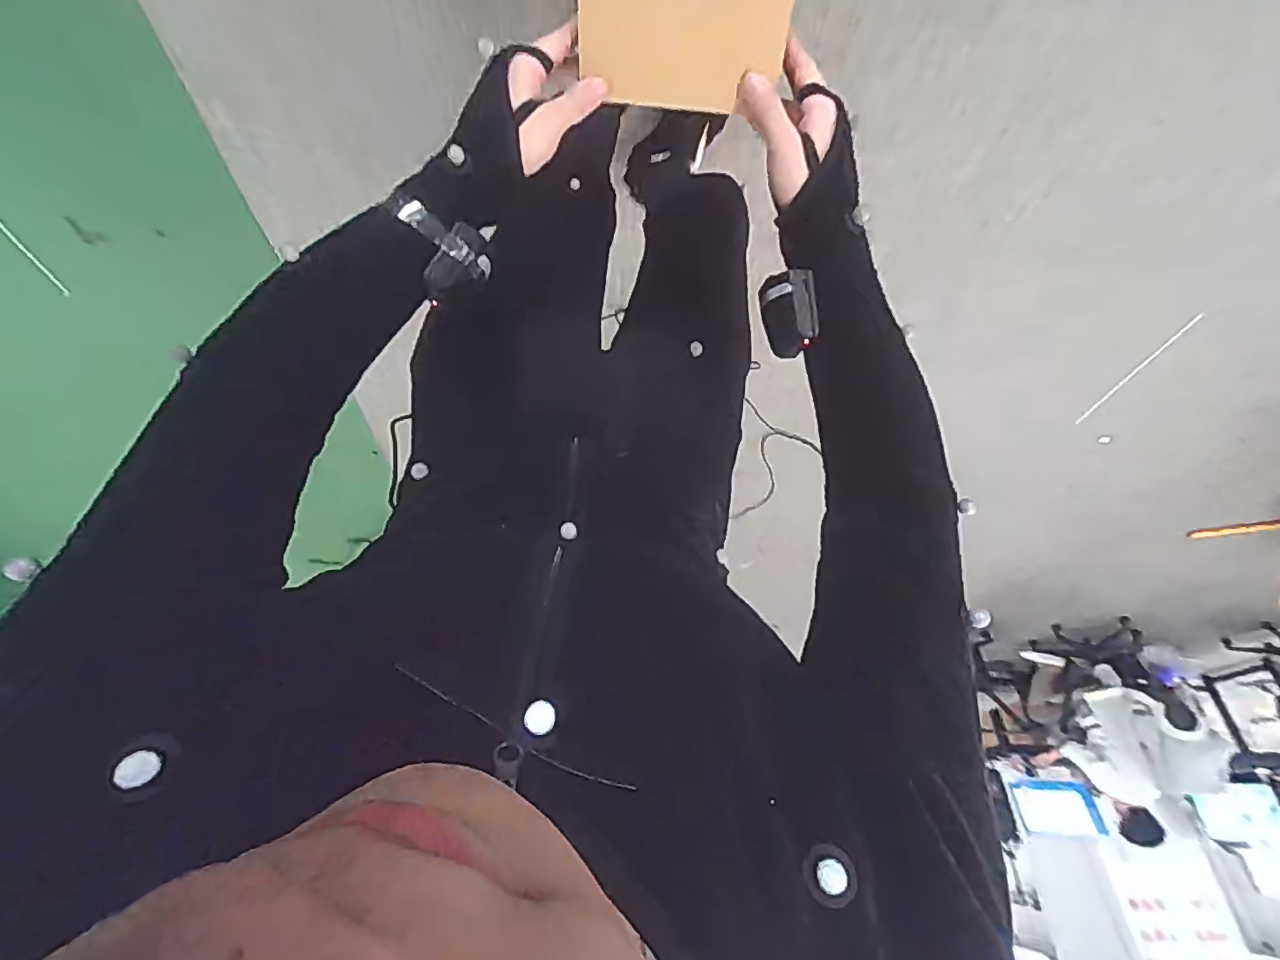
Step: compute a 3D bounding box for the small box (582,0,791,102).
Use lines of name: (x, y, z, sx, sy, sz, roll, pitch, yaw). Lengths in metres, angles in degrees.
small box: (0.048, -0.448, 0.451, 0.168, 0.176, 0.179, 8, 138, 3)
